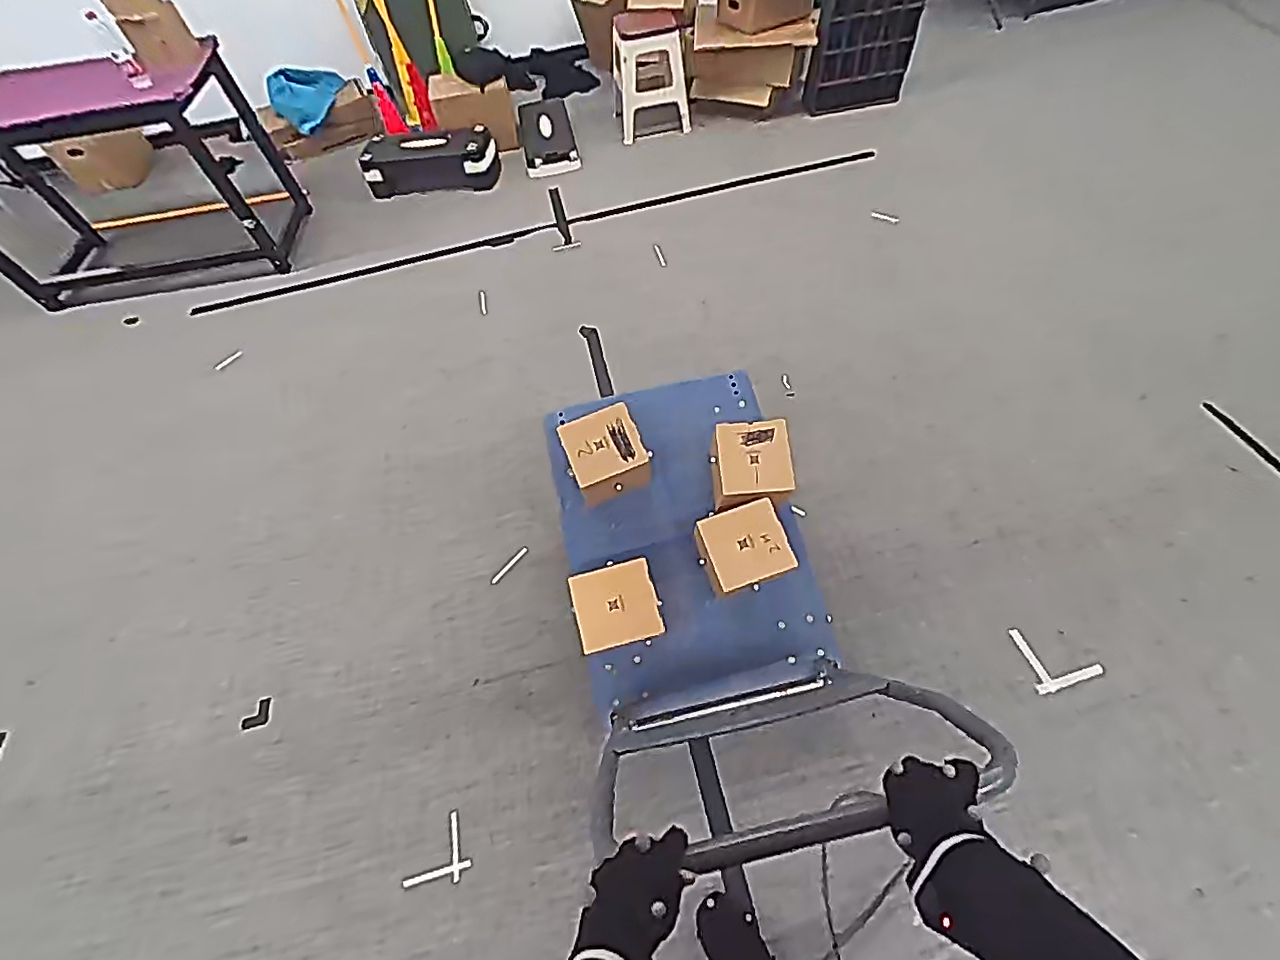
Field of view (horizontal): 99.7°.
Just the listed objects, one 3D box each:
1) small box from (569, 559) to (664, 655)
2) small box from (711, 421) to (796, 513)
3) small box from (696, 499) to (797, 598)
[{"bbox_3d":[-0.049,0.292,1.223,0.179,0.176,0.168,-15,72,-4],"label":"small box"},{"bbox_3d":[0.266,-0.027,1.310,0.168,0.176,0.179,-4,73,2],"label":"small box"},{"bbox_3d":[0.236,0.166,1.250,0.179,0.176,0.168,-19,73,-3],"label":"small box"}]
